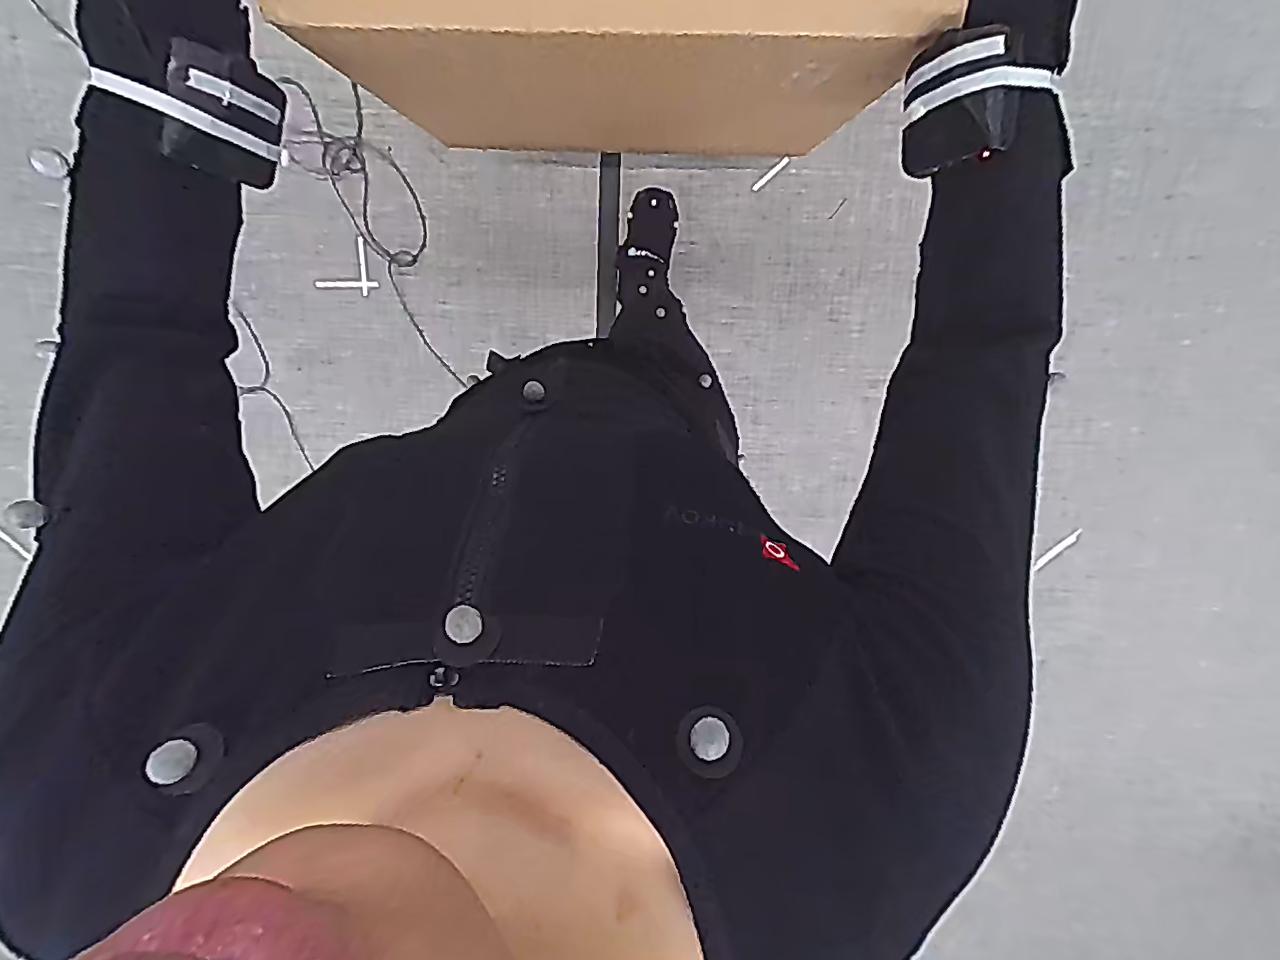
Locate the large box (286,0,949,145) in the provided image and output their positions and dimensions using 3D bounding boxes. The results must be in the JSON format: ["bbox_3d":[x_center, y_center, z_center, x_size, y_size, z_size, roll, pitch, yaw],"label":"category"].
[{"bbox_3d":[-0.015,-0.470,0.411,0.408,0.320,0.320,1,110,-1],"label":"large box"}]
